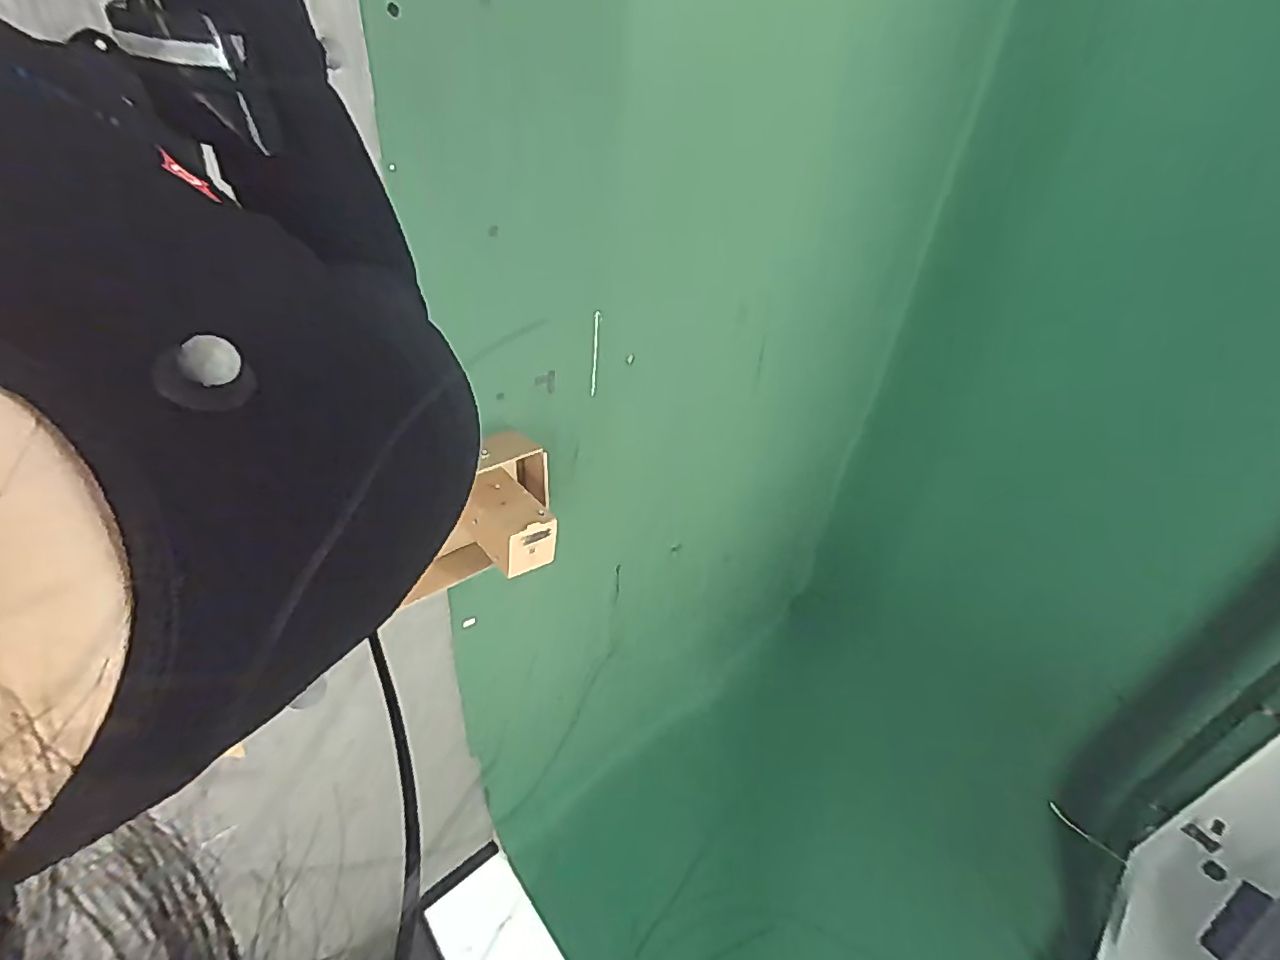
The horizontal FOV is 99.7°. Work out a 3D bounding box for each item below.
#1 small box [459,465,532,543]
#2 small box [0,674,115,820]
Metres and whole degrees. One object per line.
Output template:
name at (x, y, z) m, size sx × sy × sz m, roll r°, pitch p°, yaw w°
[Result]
small box at (-0.478, 0.073, 1.797) m, size 0.179 × 0.176 × 0.168 m, roll -22°, pitch 134°, yaw -34°
small box at (-1.234, 0.541, 1.114) m, size 0.168 × 0.176 × 0.179 m, roll -26°, pitch 135°, yaw -36°
